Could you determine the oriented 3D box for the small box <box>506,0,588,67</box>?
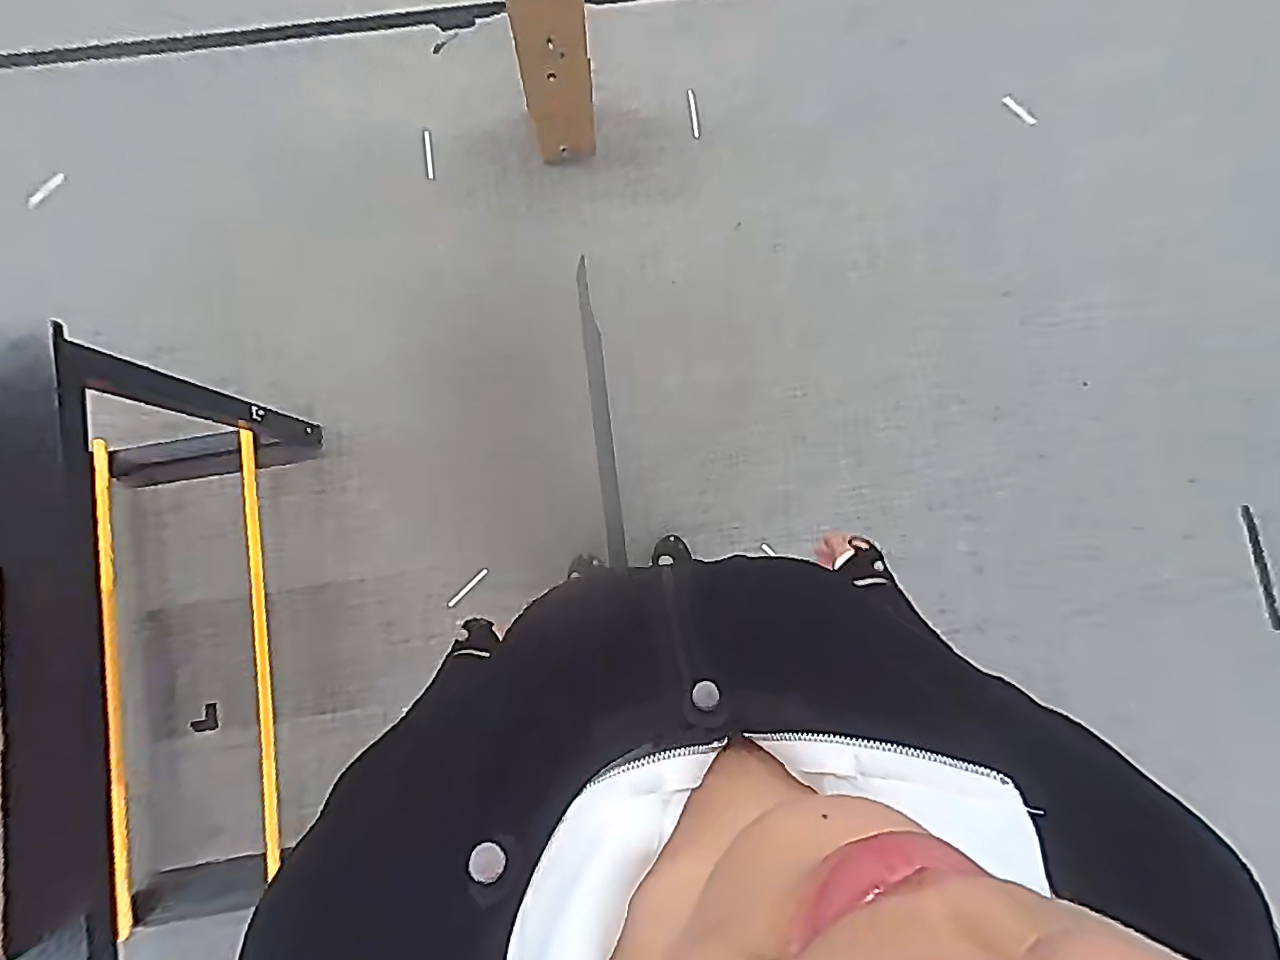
[{"bbox_3d":[-0.208,-1.076,1.210,0.168,0.176,0.179,-5,85,-2],"label":"small box"}]

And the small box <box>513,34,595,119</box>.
[{"bbox_3d":[-0.216,-1.057,1.374,0.179,0.176,0.168,-9,85,-3],"label":"small box"}]

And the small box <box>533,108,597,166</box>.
[{"bbox_3d":[-0.221,-1.040,1.538,0.168,0.176,0.179,-13,86,-2],"label":"small box"}]
